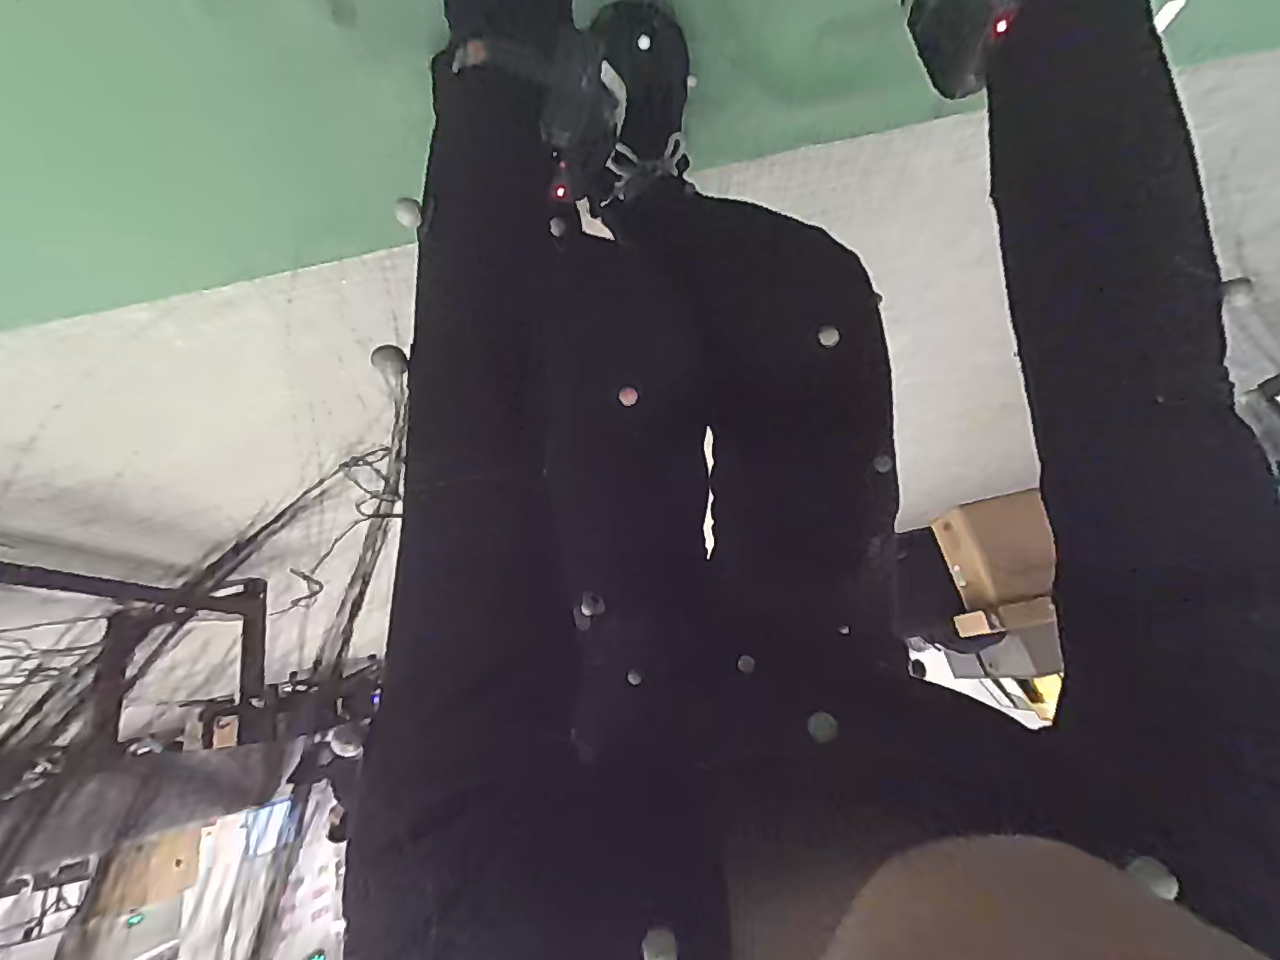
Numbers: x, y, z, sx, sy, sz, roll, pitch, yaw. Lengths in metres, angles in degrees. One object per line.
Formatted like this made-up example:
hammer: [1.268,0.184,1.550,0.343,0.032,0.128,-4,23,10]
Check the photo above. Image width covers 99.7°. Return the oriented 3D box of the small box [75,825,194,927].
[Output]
small box: [-1.381,1.080,1.490,0.168,0.176,0.179,-12,159,-2]
